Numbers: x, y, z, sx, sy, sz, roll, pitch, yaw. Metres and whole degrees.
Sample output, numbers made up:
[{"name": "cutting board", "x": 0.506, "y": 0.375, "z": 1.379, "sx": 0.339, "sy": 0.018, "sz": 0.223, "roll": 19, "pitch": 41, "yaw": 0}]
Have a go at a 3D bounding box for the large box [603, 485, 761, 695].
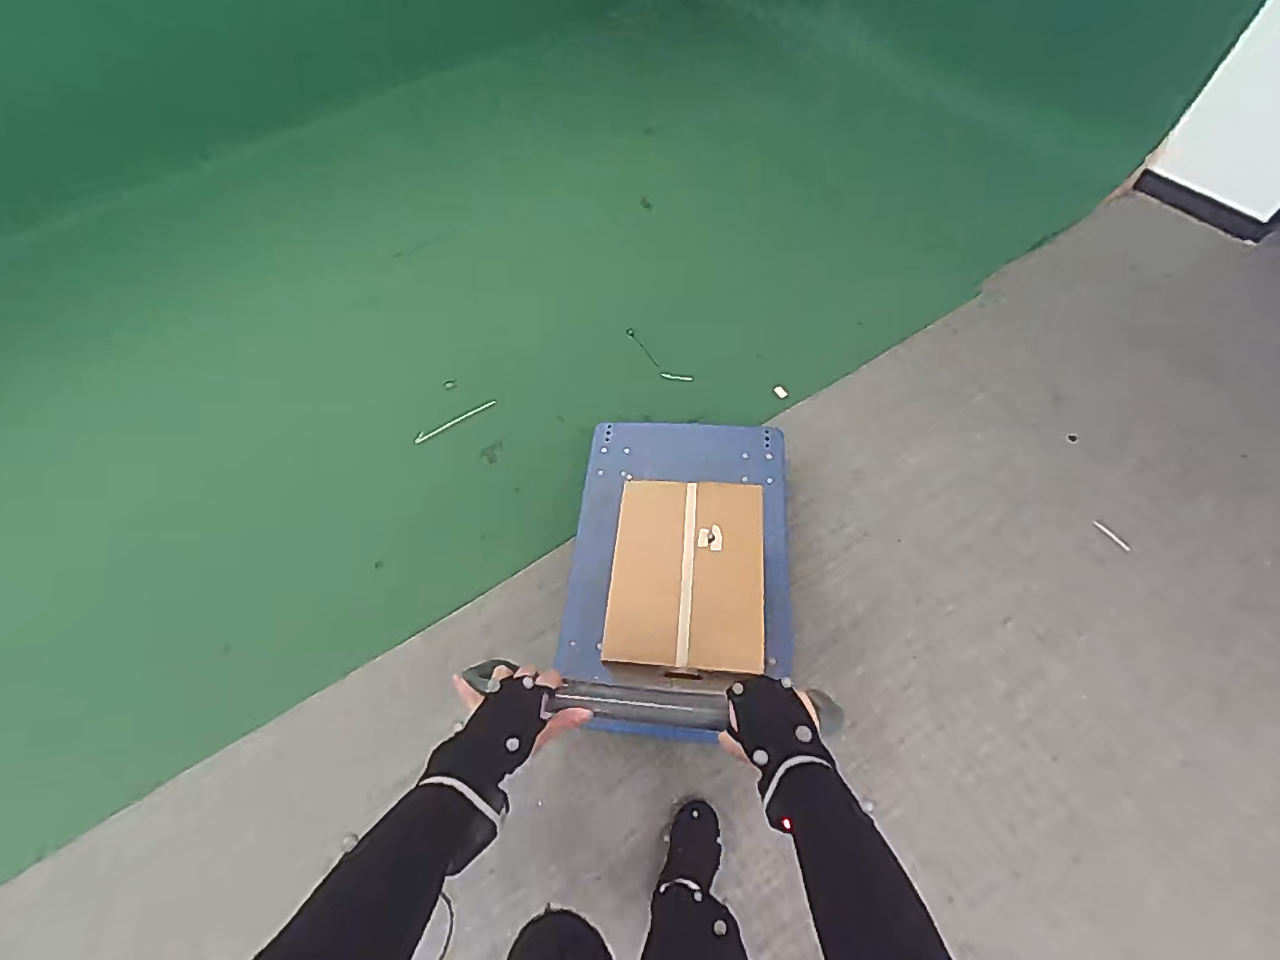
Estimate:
[{"name": "large box", "x": 0.110, "y": 0.264, "z": 1.269, "sx": 0.320, "sy": 0.320, "sz": 0.408, "roll": 3, "pitch": 60, "yaw": 7}]
